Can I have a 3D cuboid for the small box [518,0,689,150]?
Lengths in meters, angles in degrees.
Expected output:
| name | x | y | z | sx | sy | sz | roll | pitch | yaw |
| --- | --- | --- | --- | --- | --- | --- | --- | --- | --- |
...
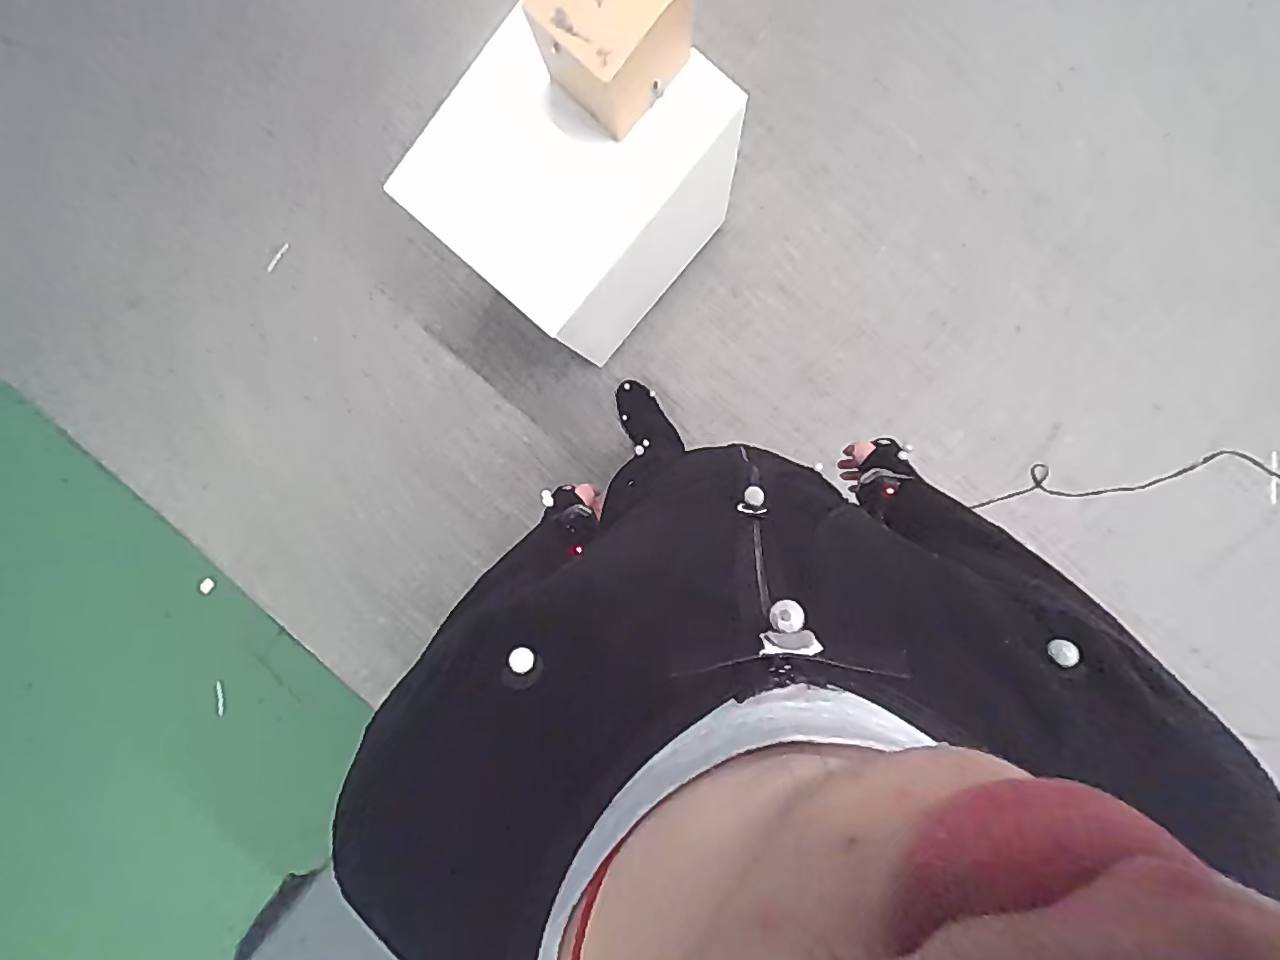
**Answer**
| name | x | y | z | sx | sy | sz | roll | pitch | yaw |
| --- | --- | --- | --- | --- | --- | --- | --- | --- | --- |
| small box | -0.048 | -0.647 | 0.801 | 0.168 | 0.176 | 0.179 | 41 | 95 | -1 |
